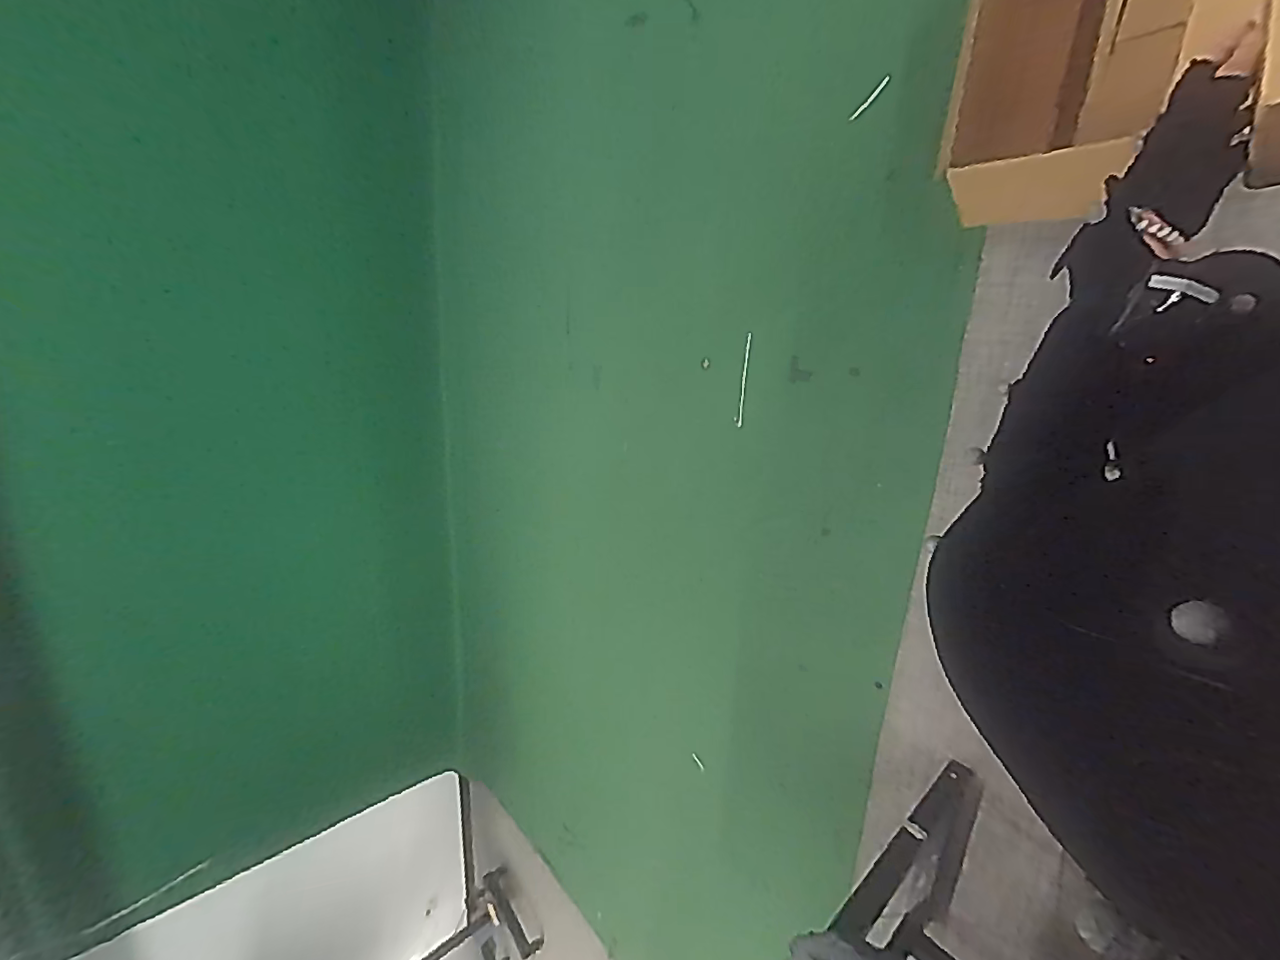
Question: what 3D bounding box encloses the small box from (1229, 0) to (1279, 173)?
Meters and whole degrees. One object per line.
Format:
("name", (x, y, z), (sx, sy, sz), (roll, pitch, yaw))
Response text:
("small box", (0.487, -0.310, 0.313), (0.179, 0.176, 0.168), (8, 100, 45))
